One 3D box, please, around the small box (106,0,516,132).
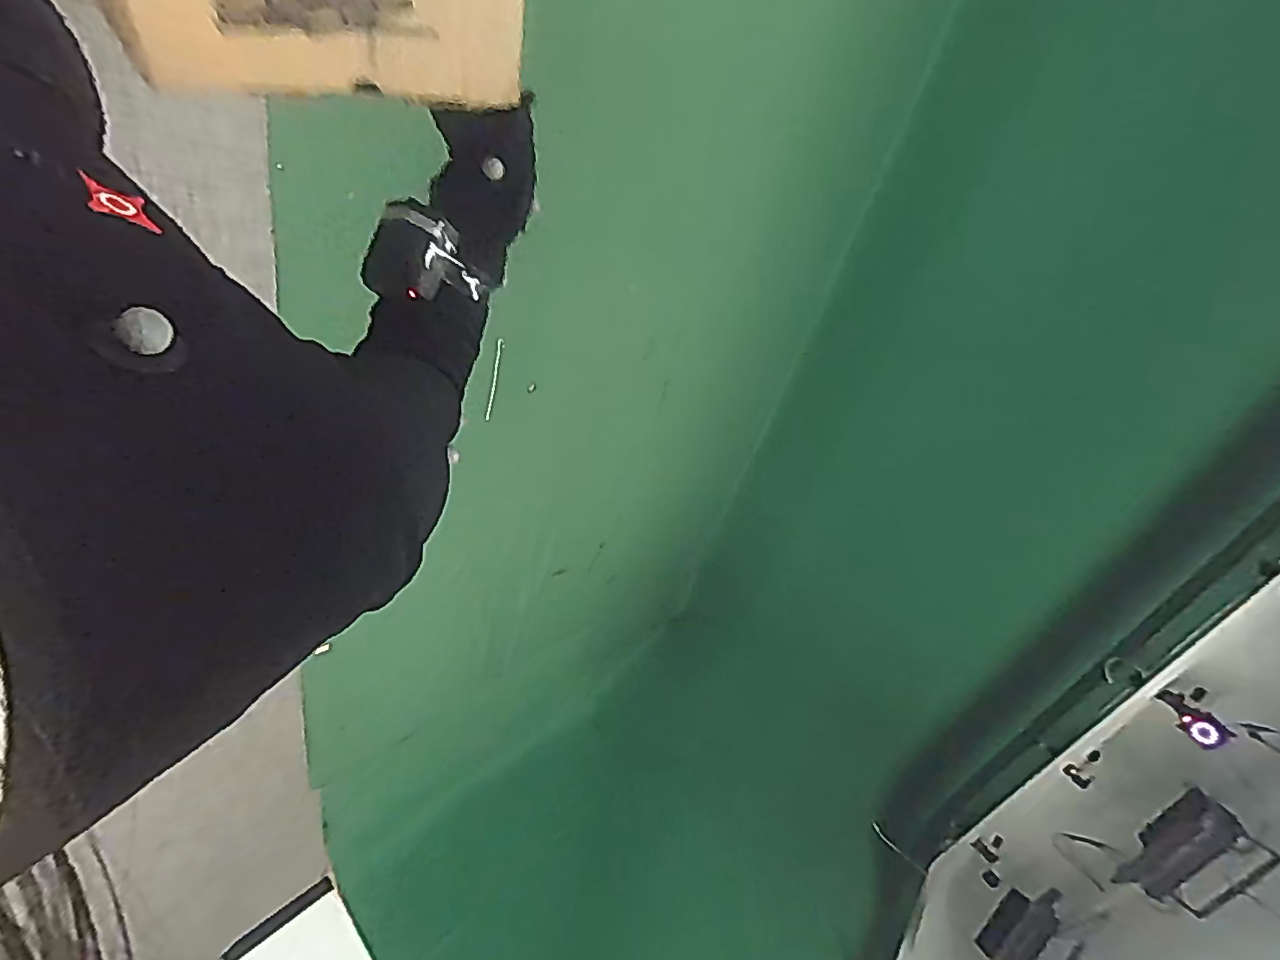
[{"bbox_3d":[-0.168,-0.292,0.249,0.168,0.176,0.179,-24,149,-34],"label":"small box"}]
